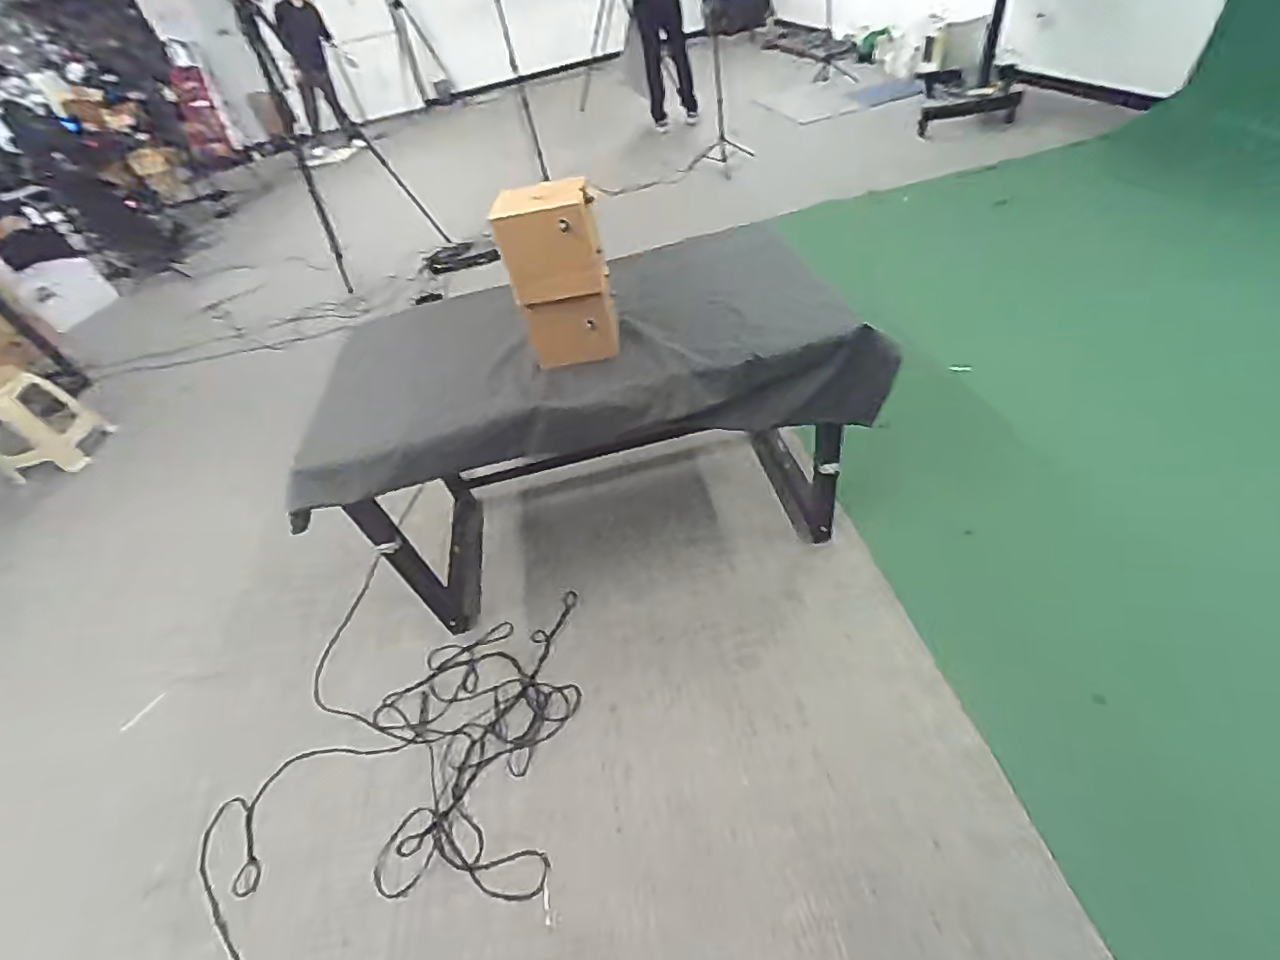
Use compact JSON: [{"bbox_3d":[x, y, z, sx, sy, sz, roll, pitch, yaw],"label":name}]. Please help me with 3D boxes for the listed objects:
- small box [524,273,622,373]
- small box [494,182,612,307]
[{"bbox_3d":[-0.137,-0.358,1.189,0.179,0.176,0.168,-9,43,6],"label":"small box"},{"bbox_3d":[-0.162,-0.458,1.062,0.179,0.176,0.168,-7,43,6],"label":"small box"}]
